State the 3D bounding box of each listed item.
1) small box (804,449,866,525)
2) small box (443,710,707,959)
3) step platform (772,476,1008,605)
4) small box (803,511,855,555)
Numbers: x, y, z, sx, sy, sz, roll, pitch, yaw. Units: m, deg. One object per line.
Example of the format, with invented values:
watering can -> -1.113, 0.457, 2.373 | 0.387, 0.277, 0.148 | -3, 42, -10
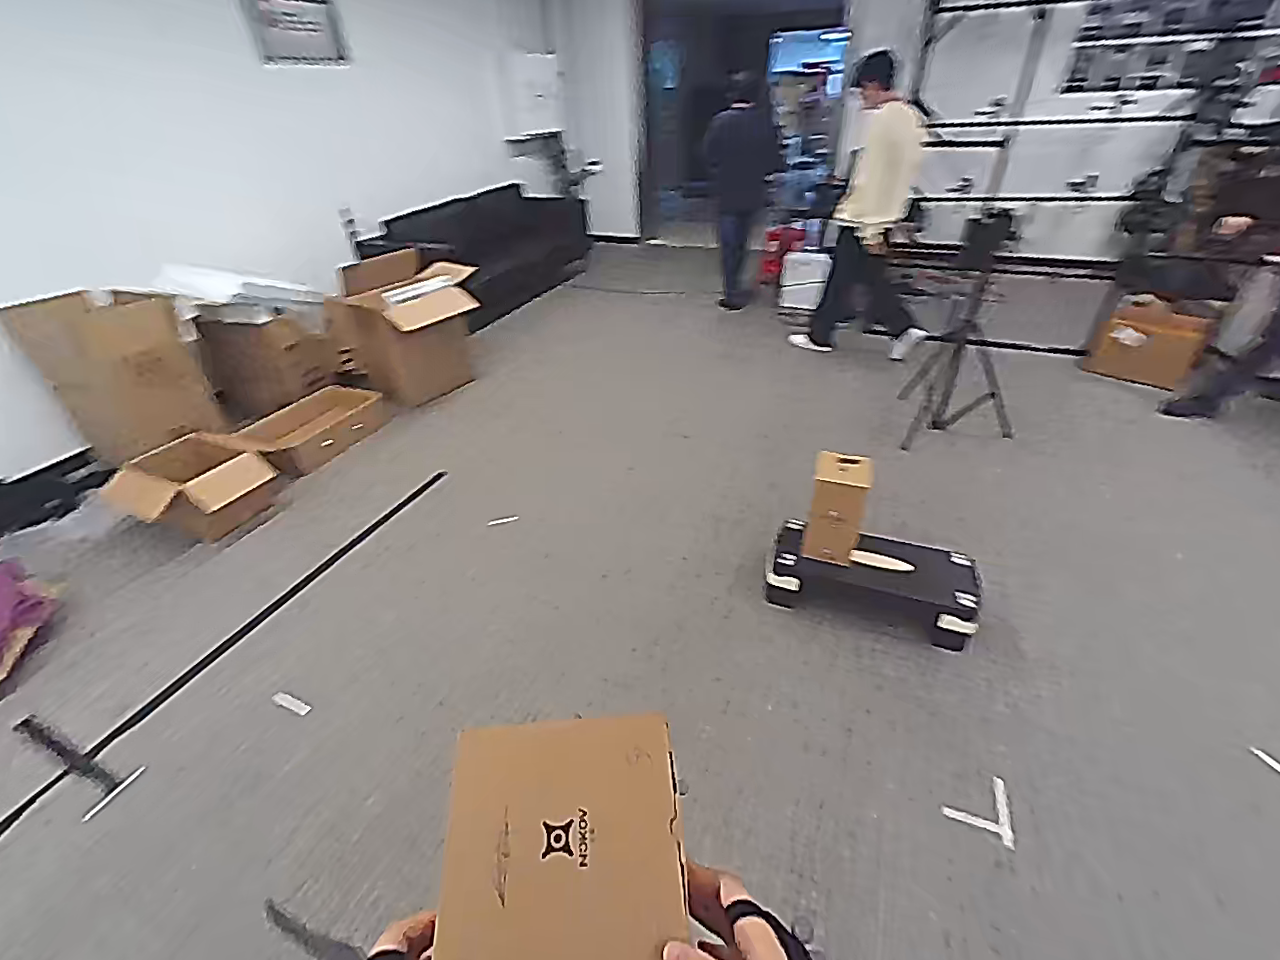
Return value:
small box -> 0.650, 0.021, 1.806 | 0.168, 0.176, 0.179 | 10, 38, 17
small box -> -0.046, 0.308, 0.461 | 0.179, 0.176, 0.168 | -5, 52, -1
step platform -> 0.790, 0.186, 1.788 | 0.684, 0.204, 0.286 | 11, 37, 18
small box -> 0.656, 0.158, 1.896 | 0.168, 0.176, 0.179 | 11, 37, 18
